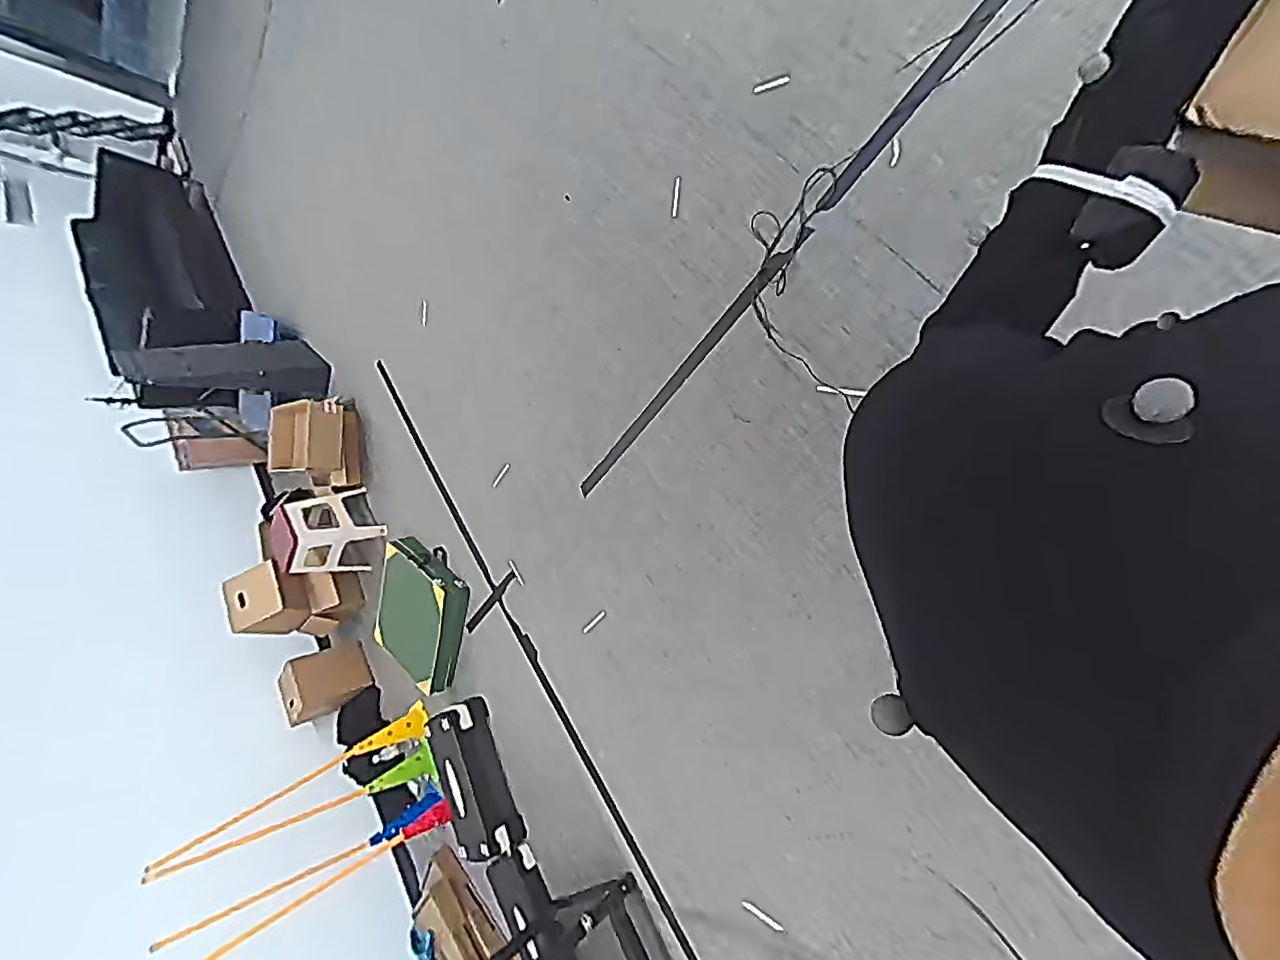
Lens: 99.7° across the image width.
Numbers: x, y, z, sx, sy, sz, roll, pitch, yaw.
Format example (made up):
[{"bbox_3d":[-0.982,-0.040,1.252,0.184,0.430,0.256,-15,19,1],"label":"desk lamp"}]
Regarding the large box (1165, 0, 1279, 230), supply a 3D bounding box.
[{"bbox_3d":[0.628,-0.287,0.289,0.408,0.320,0.320,37,124,29],"label":"large box"}]
